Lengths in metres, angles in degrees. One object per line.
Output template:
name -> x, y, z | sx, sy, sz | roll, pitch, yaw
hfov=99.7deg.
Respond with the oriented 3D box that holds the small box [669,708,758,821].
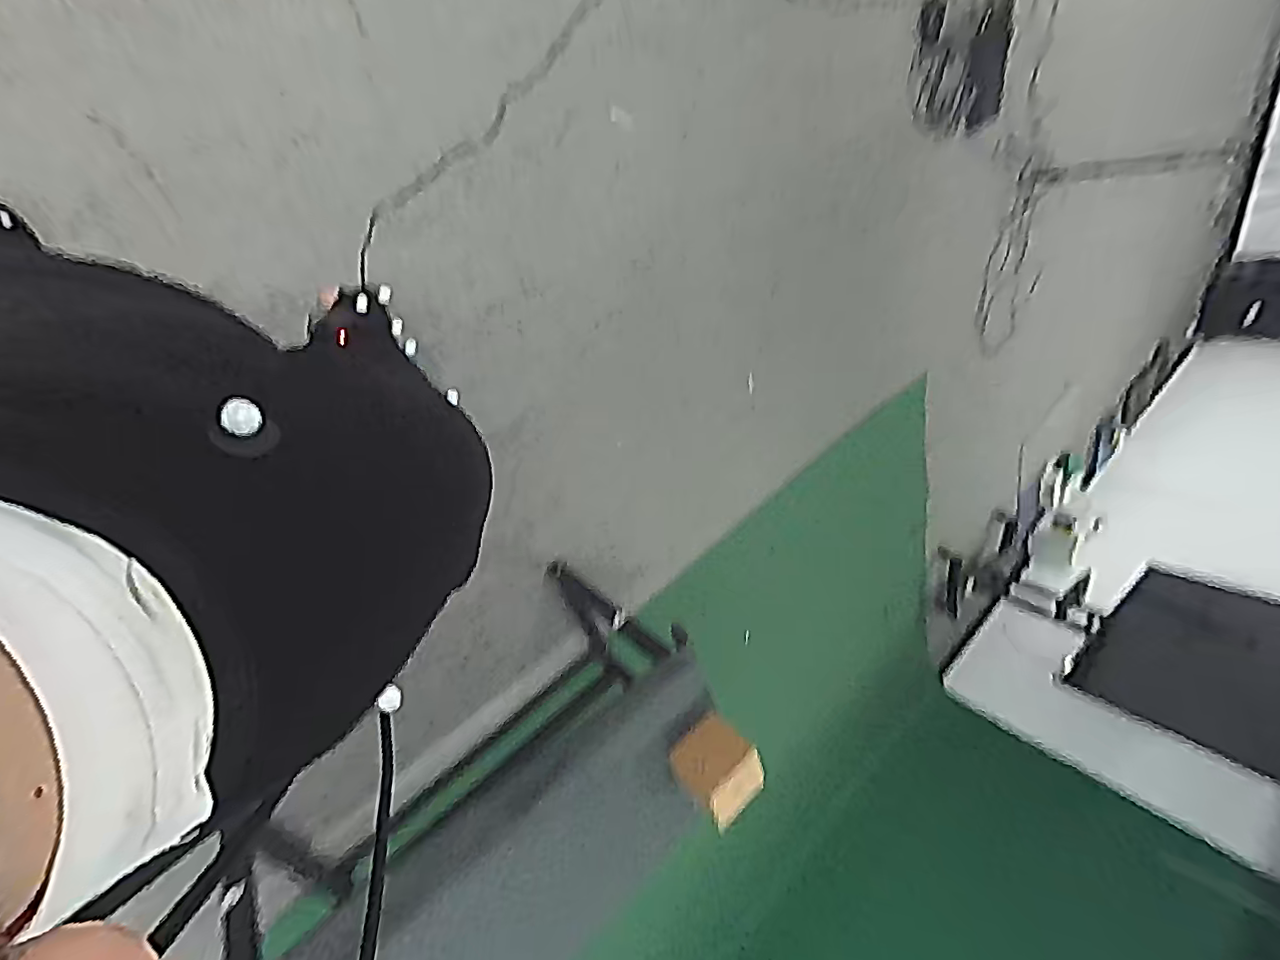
small box -> 0.197, 0.775, 1.488 | 0.179, 0.176, 0.168 | -33, 127, -25
